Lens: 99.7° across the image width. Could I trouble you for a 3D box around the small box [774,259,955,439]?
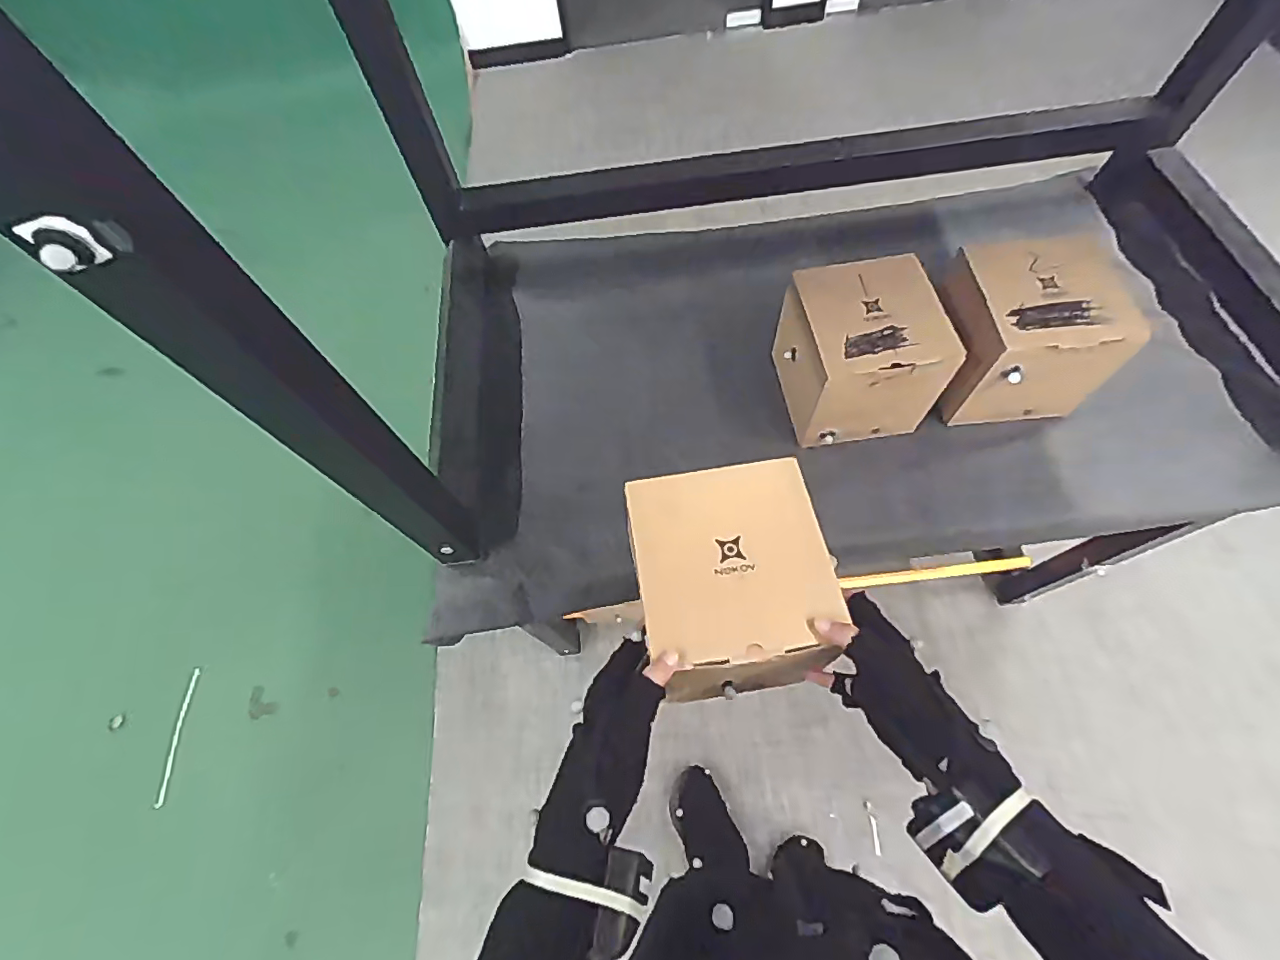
[{"bbox_3d":[0.293,-0.170,0.752,0.168,0.176,0.179,-8,62,1],"label":"small box"}]
